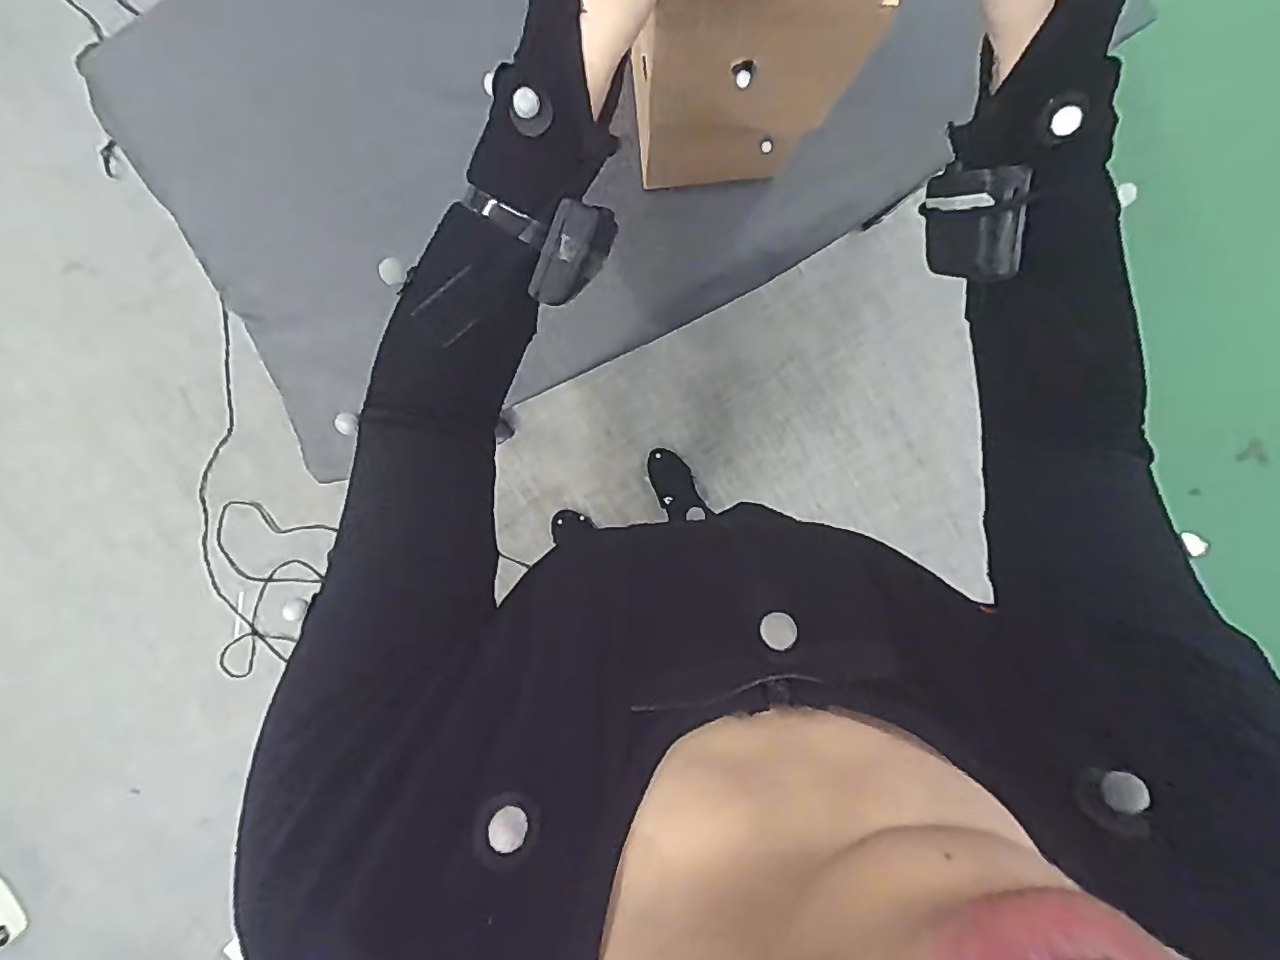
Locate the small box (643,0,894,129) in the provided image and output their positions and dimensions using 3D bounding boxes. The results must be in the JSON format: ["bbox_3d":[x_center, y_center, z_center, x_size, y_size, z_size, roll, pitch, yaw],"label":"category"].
[{"bbox_3d":[0.095,-0.422,0.451,0.179,0.176,0.168,1,96,-1],"label":"small box"}]
